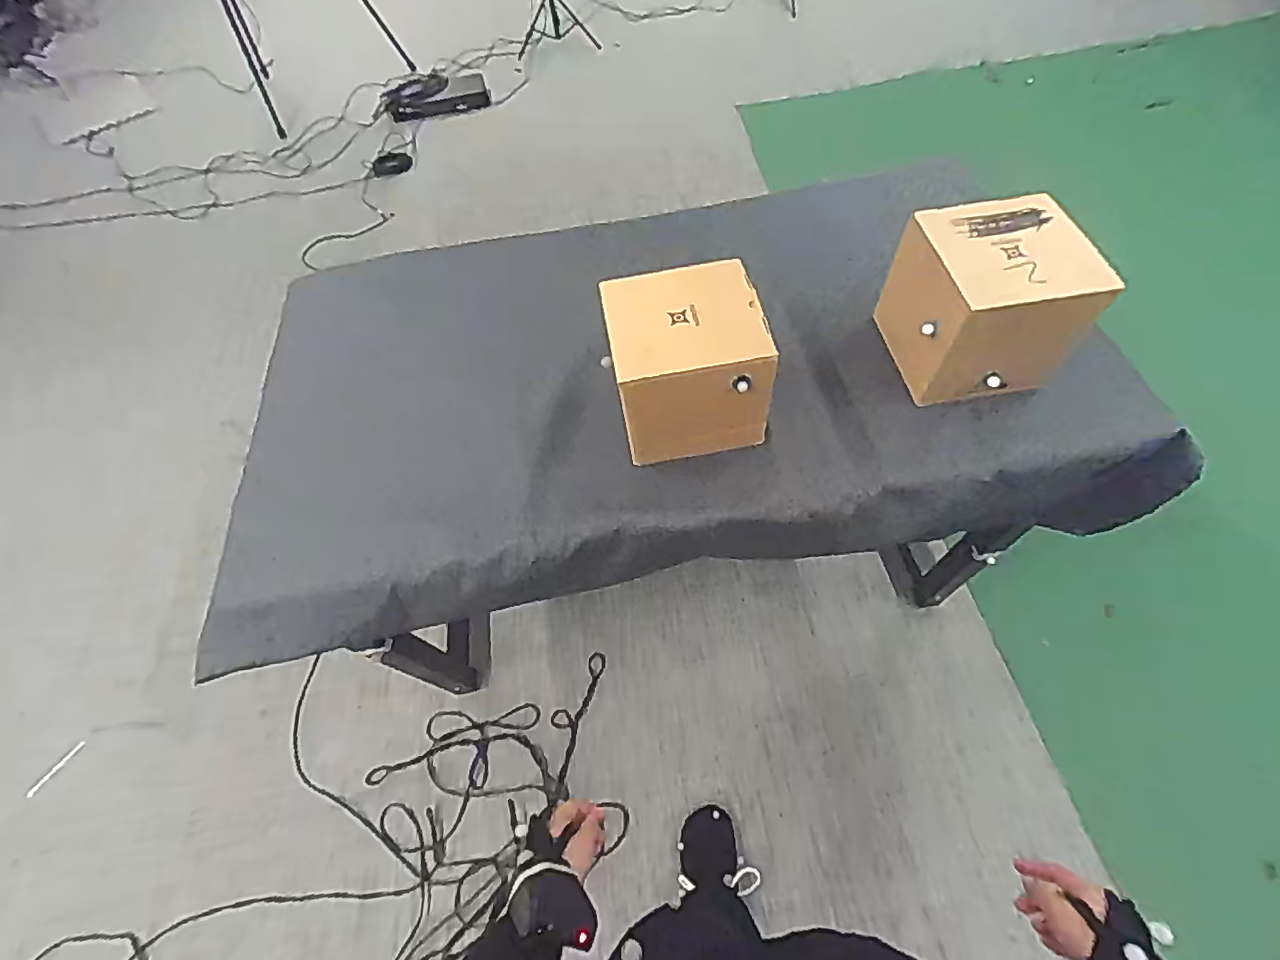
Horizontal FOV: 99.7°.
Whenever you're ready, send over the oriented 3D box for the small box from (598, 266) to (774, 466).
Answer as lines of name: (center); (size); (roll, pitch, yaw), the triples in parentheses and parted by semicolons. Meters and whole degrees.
small box: (0.053, -0.134, 0.676); (0.179, 0.176, 0.168); (-10, 58, -1)
